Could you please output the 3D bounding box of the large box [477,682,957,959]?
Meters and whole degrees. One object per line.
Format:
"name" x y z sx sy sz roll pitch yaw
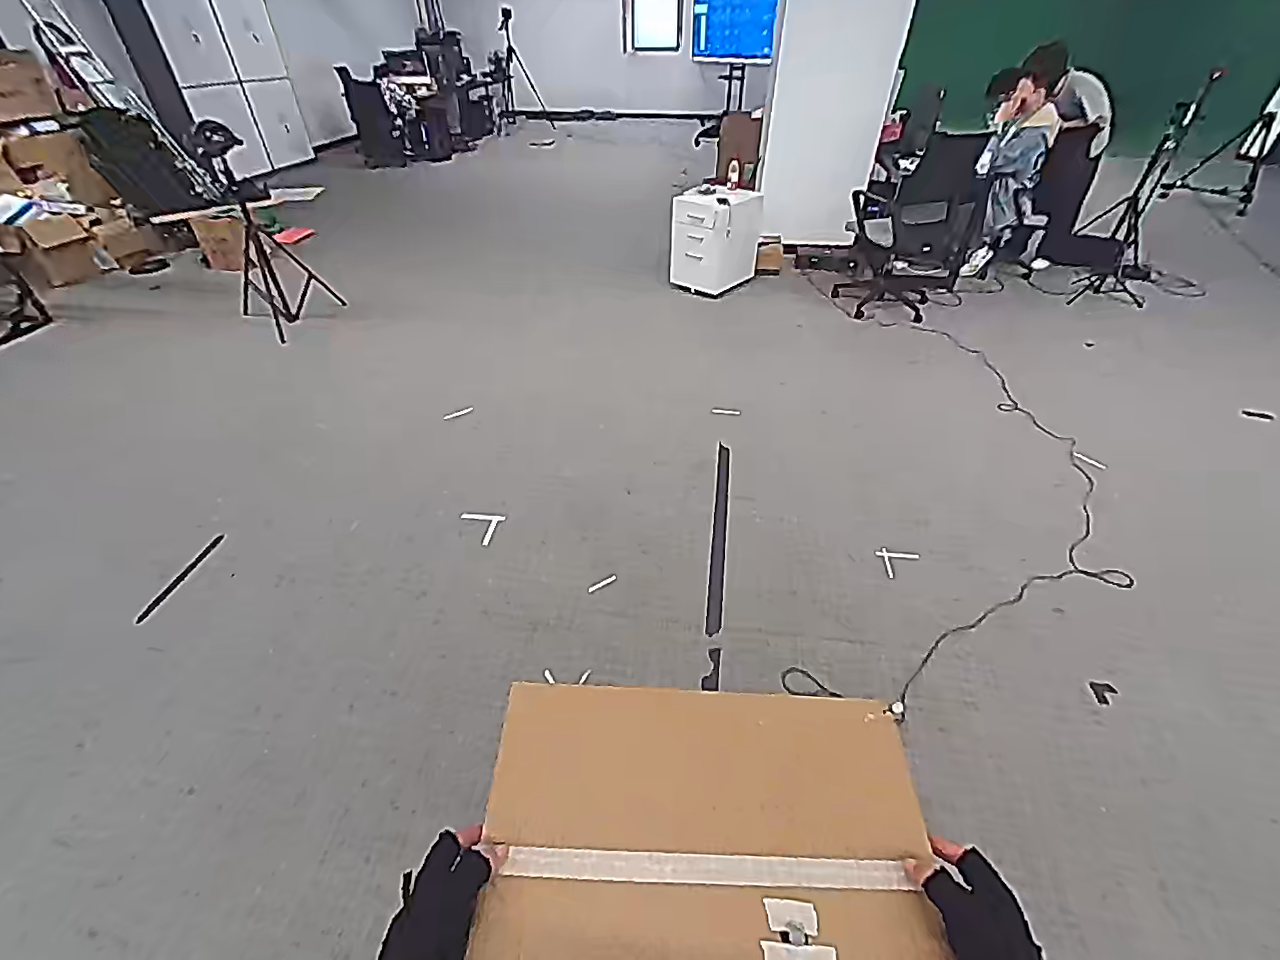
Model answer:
"large box" 0.059 0.443 0.597 0.408 0.320 0.320 3 47 -1
